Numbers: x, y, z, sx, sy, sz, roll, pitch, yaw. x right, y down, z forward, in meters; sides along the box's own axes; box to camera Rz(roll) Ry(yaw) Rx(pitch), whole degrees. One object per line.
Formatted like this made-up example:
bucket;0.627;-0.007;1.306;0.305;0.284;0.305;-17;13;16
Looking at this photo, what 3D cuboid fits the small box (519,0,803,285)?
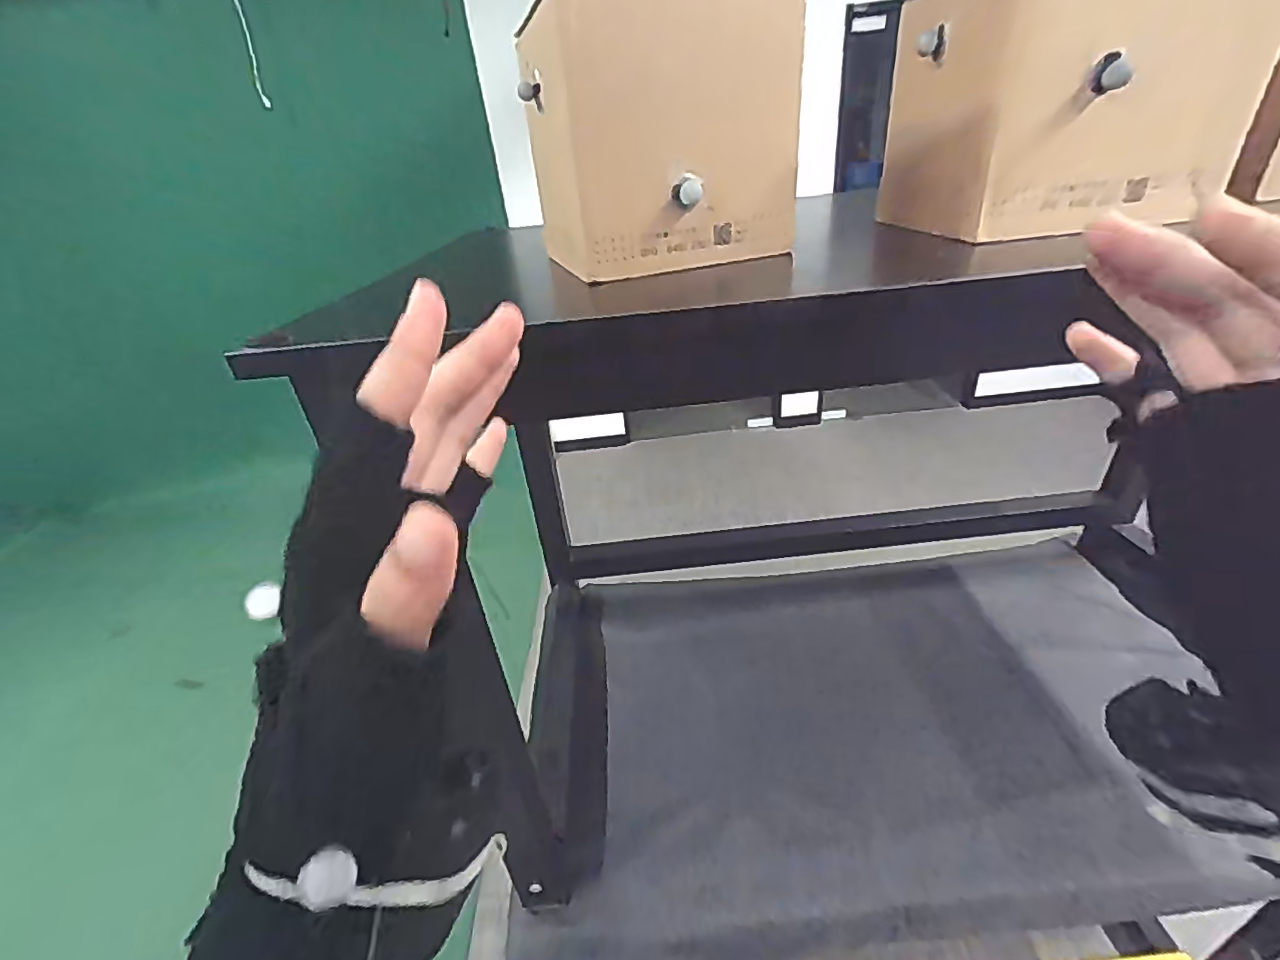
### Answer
small box;0.007;-0.261;0.432;0.168;0.176;0.179;-14;32;-13
